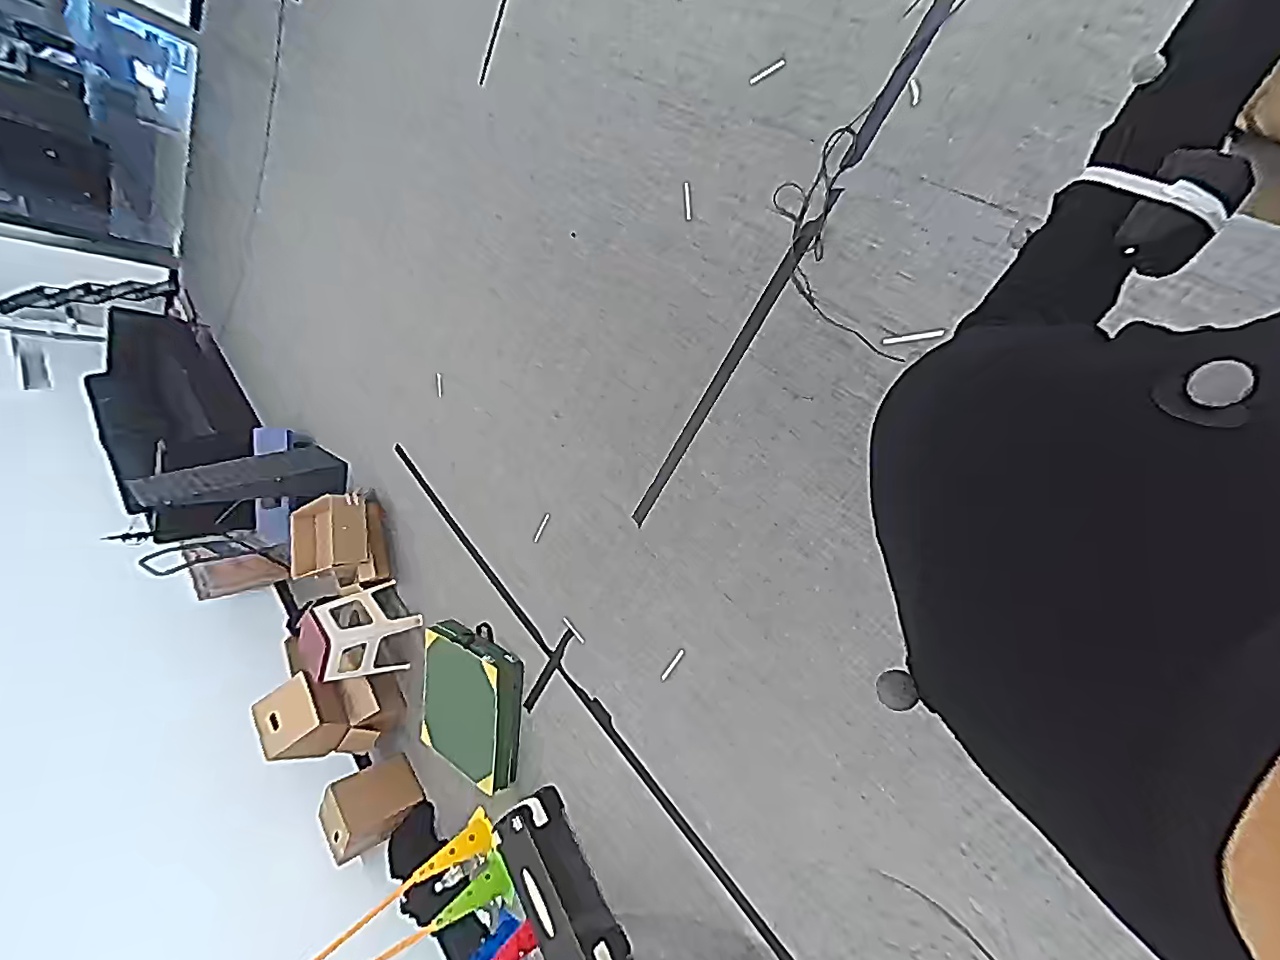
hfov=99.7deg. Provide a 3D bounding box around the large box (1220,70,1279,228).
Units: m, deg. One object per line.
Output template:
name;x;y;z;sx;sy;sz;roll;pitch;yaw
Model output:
large box;0.654;-0.254;0.270;0.408;0.320;0.320;43;129;30
